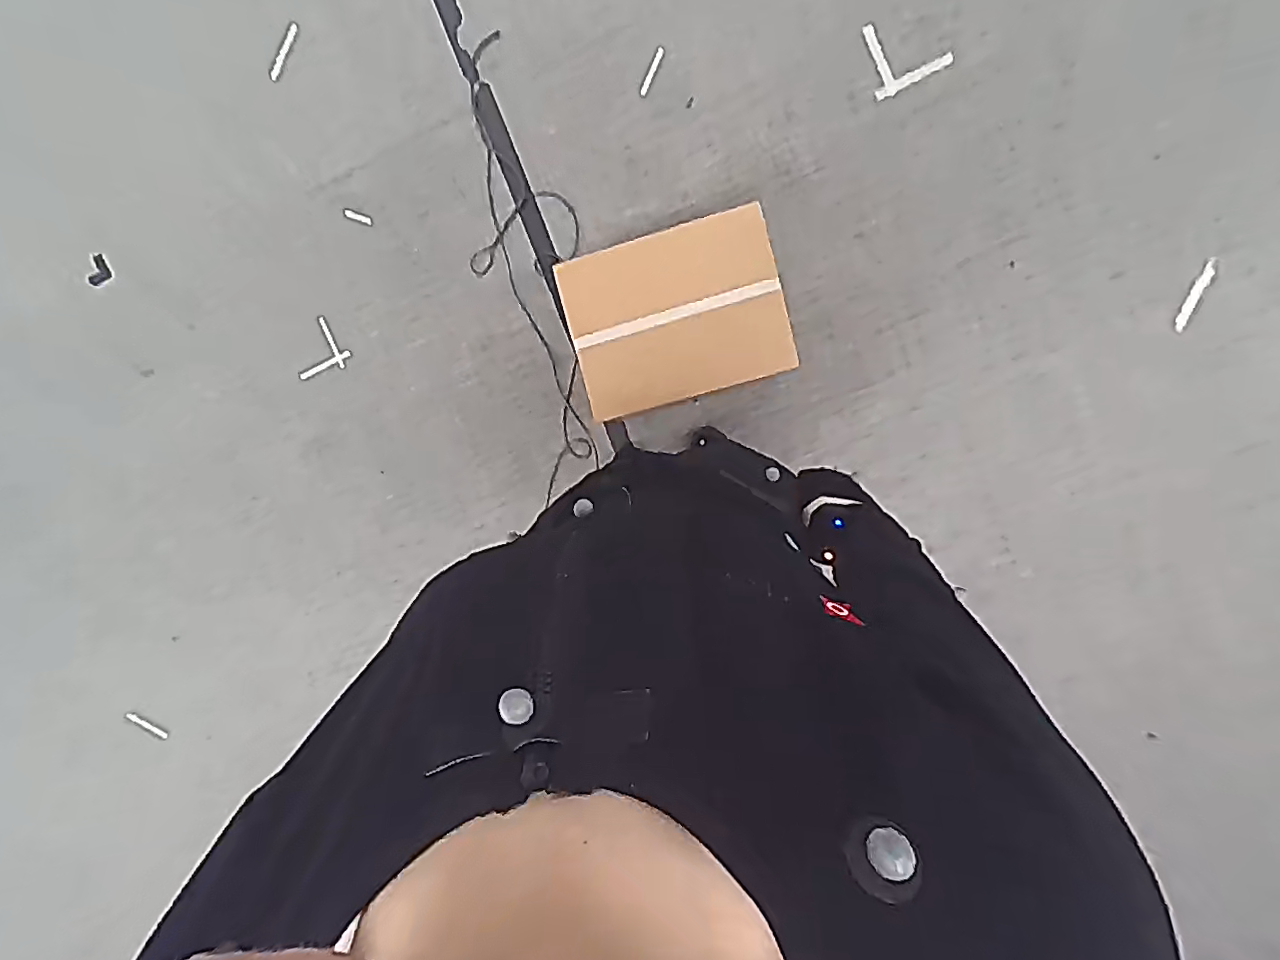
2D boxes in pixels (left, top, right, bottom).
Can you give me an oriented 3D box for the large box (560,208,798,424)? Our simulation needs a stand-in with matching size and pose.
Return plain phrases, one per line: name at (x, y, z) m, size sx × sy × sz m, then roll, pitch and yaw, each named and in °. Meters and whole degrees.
large box at (0.085, -0.322, 1.182) m, size 0.408 × 0.320 × 0.320 m, roll -15°, pitch 96°, yaw 7°
